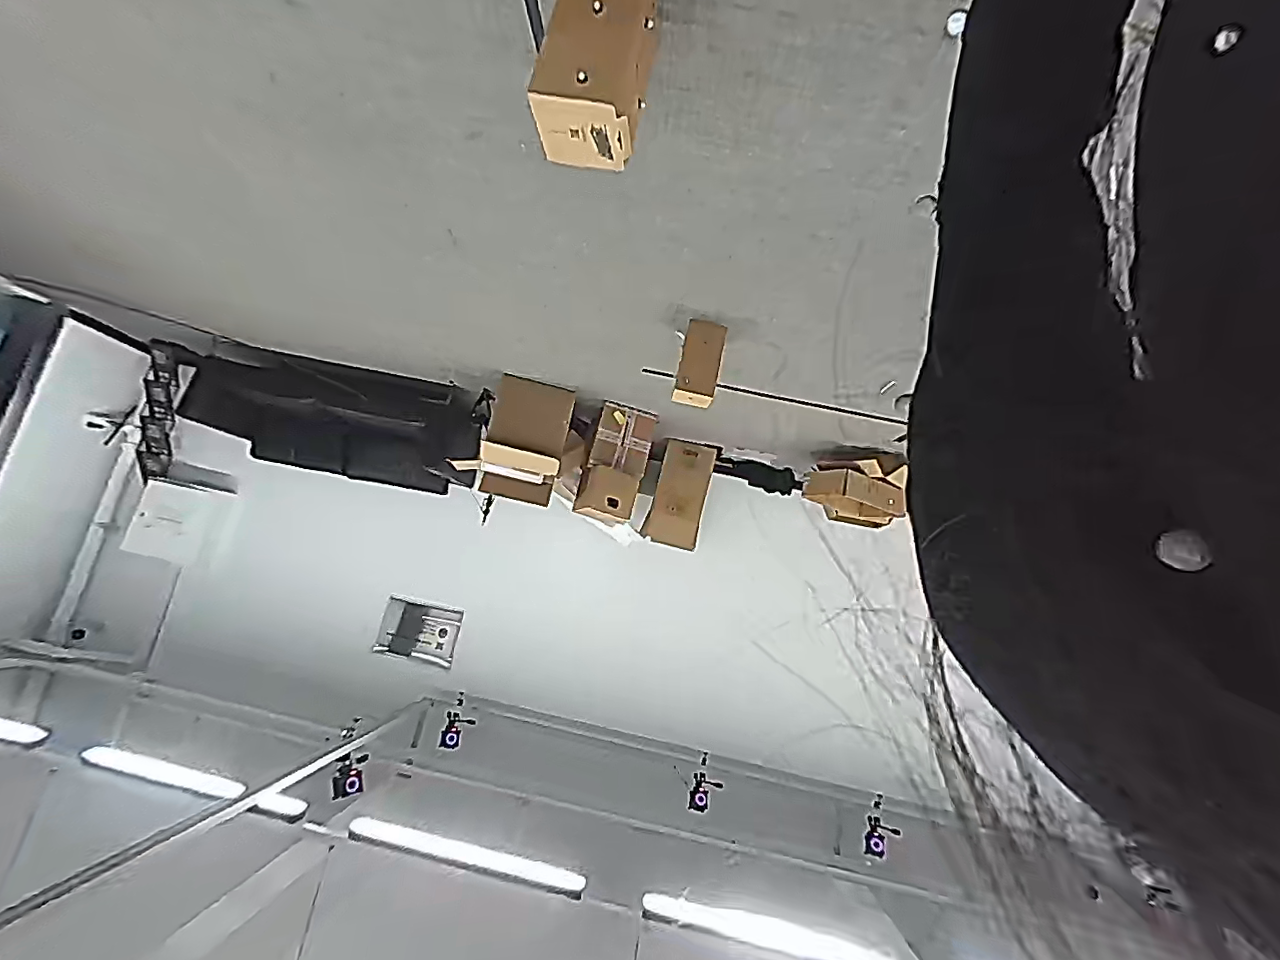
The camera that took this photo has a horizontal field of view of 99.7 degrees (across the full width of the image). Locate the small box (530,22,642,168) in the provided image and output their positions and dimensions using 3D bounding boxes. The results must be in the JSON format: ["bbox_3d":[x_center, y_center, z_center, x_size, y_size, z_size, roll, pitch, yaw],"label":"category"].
[{"bbox_3d":[-0.097,-0.765,1.080,0.179,0.176,0.168,12,170,7],"label":"small box"}]

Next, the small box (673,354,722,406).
[{"bbox_3d":[0.254,-0.449,2.420,0.179,0.176,0.168,12,171,0],"label":"small box"}]

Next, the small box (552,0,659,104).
[{"bbox_3d":[-0.060,-0.922,1.113,0.179,0.176,0.168,13,170,8],"label":"small box"}]
